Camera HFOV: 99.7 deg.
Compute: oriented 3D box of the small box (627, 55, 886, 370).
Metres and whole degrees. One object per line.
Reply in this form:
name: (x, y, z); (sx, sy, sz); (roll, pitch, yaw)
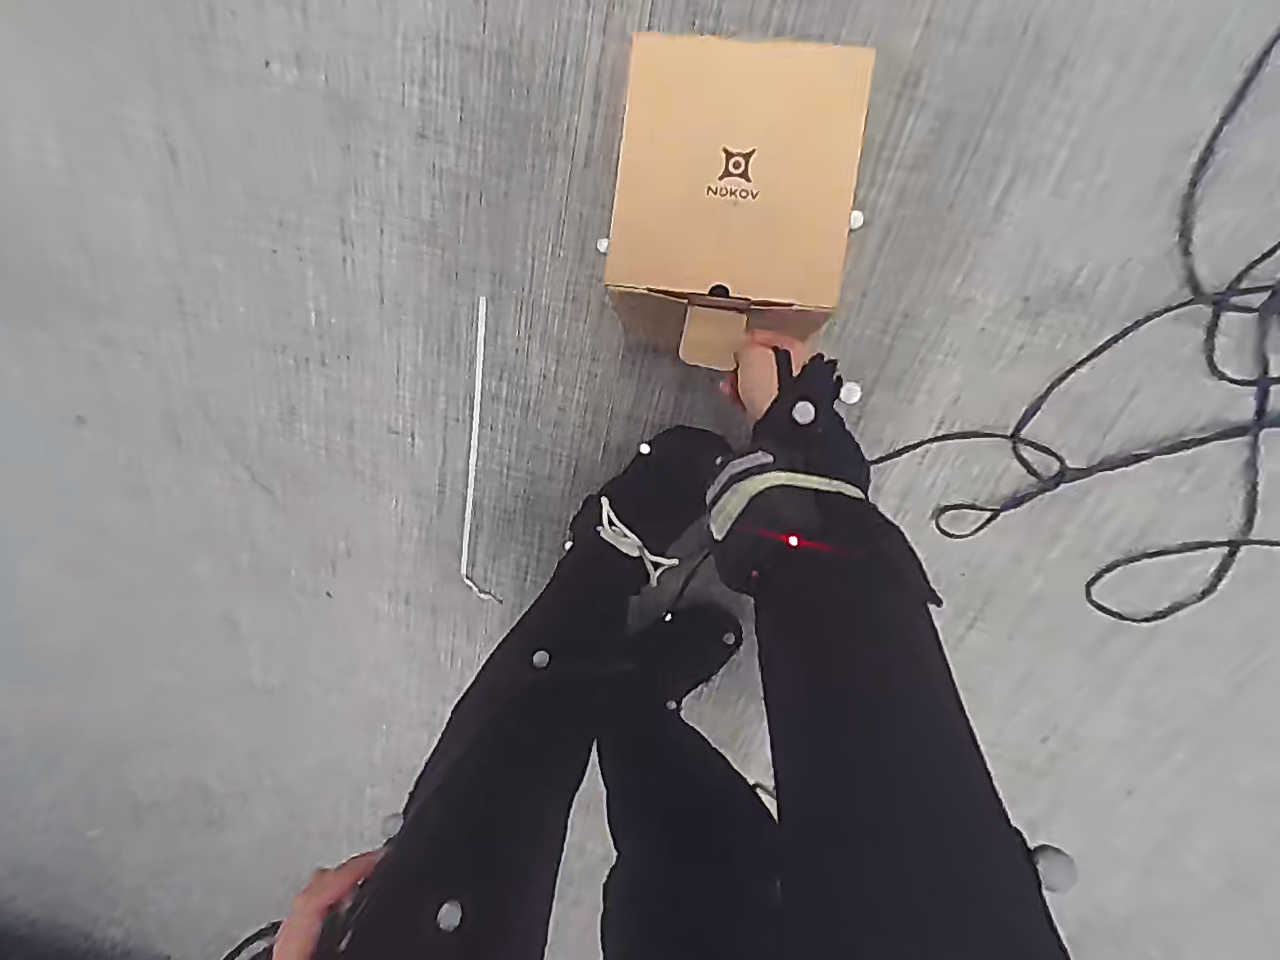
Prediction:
small box: (0.085, -0.205, 0.459); (0.168, 0.176, 0.179); (7, 90, 4)
